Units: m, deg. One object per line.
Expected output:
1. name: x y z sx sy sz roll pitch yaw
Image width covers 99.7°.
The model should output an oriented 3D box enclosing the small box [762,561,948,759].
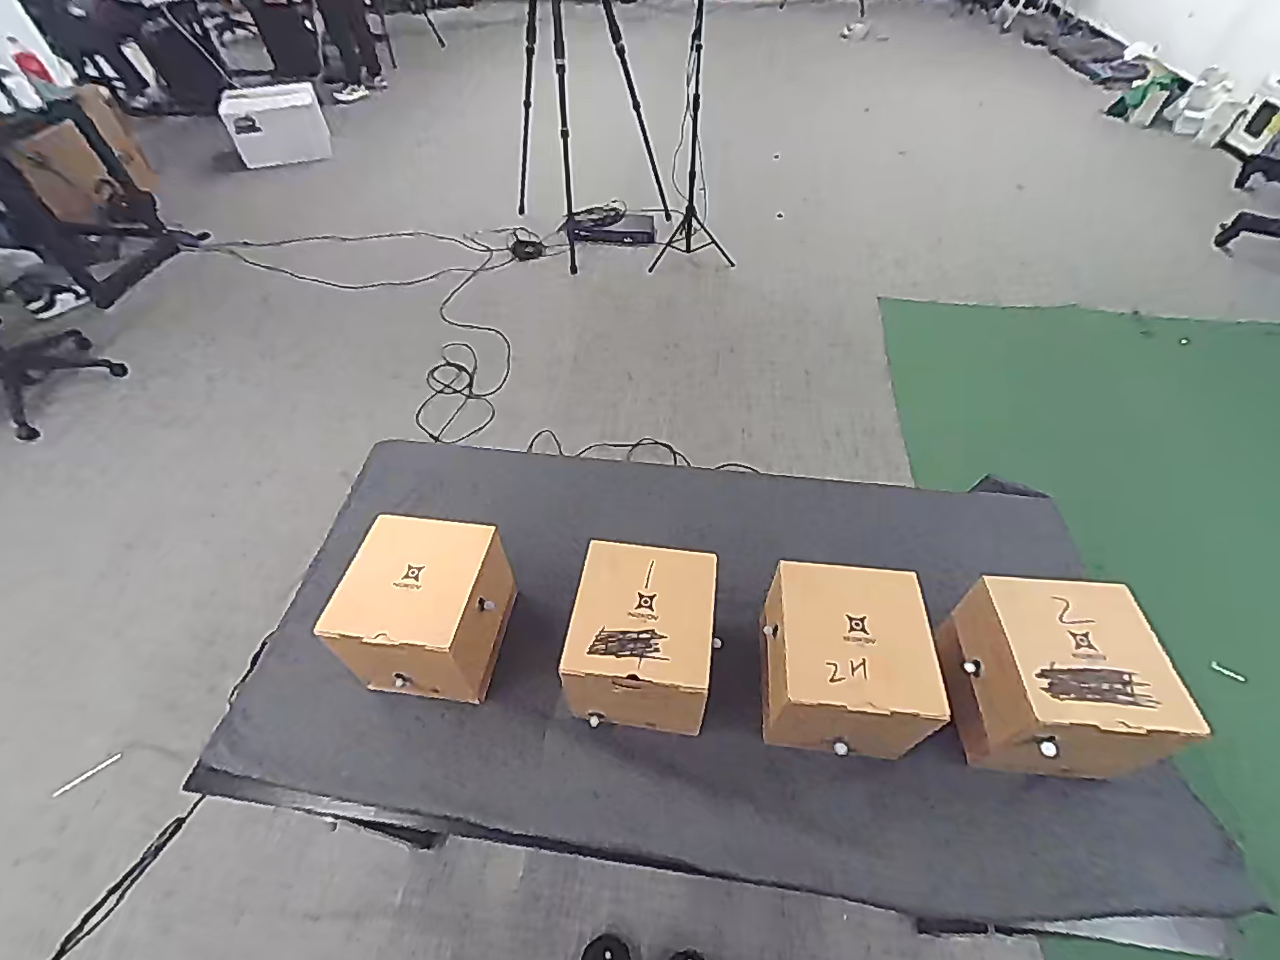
1. small box: 0.247 0.224 0.674 0.168 0.176 0.179 4 50 6

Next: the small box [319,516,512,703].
1. small box: -0.279 0.173 0.725 0.168 0.176 0.179 5 49 4

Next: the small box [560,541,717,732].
1. small box: 0.006 0.204 0.695 0.168 0.176 0.179 6 49 6
